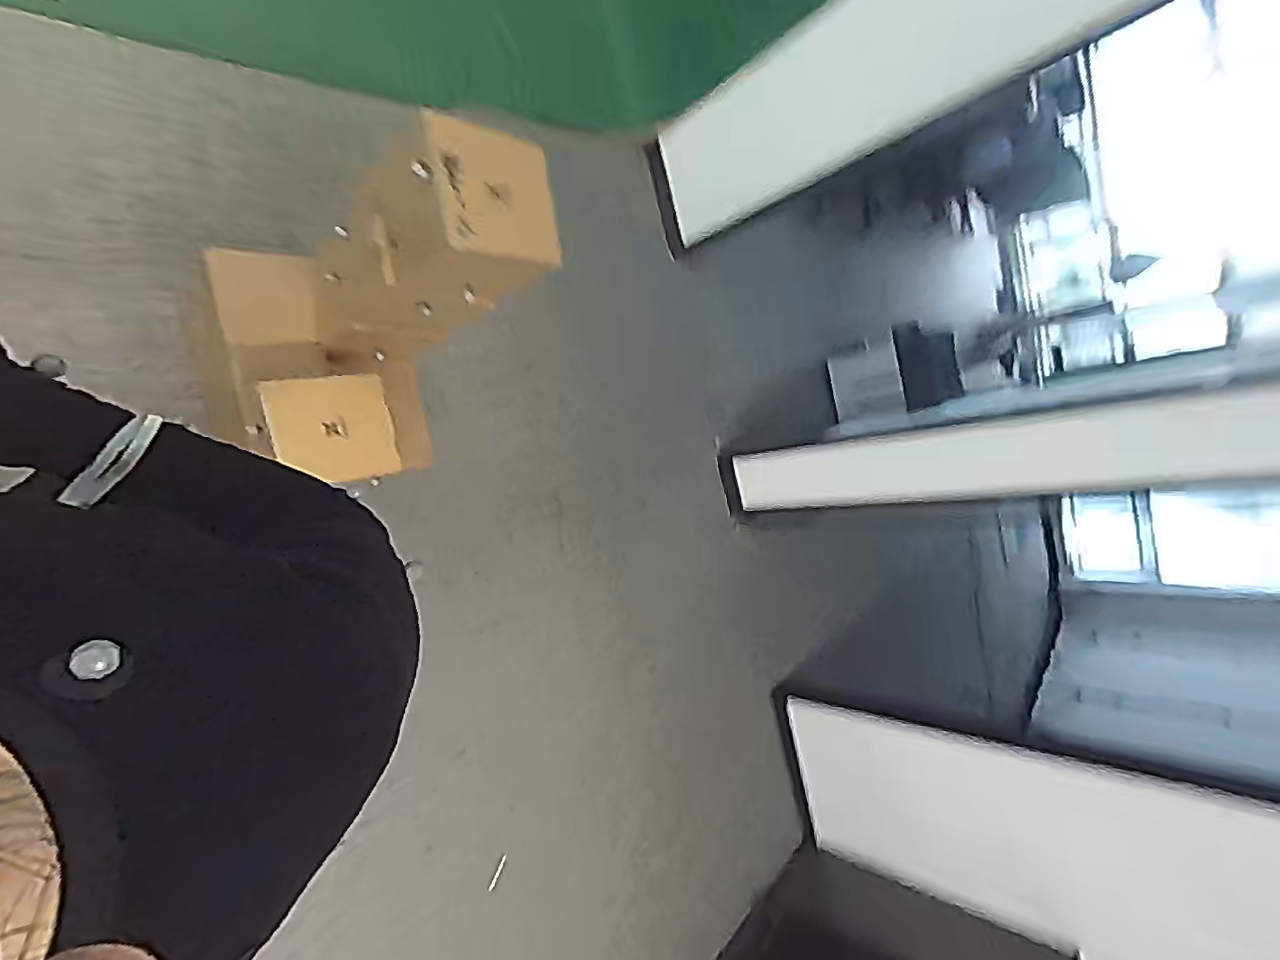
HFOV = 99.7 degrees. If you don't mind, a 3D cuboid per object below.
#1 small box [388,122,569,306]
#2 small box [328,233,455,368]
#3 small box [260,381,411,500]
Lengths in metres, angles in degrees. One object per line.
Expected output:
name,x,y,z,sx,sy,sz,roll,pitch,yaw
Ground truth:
small box,-0.230,-0.357,0.769,0.179,0.176,0.168,-11,92,-45
small box,-0.462,-0.319,1.000,0.168,0.176,0.179,-4,89,-43
small box,-0.519,-0.064,0.914,0.179,0.176,0.168,-16,96,-43
